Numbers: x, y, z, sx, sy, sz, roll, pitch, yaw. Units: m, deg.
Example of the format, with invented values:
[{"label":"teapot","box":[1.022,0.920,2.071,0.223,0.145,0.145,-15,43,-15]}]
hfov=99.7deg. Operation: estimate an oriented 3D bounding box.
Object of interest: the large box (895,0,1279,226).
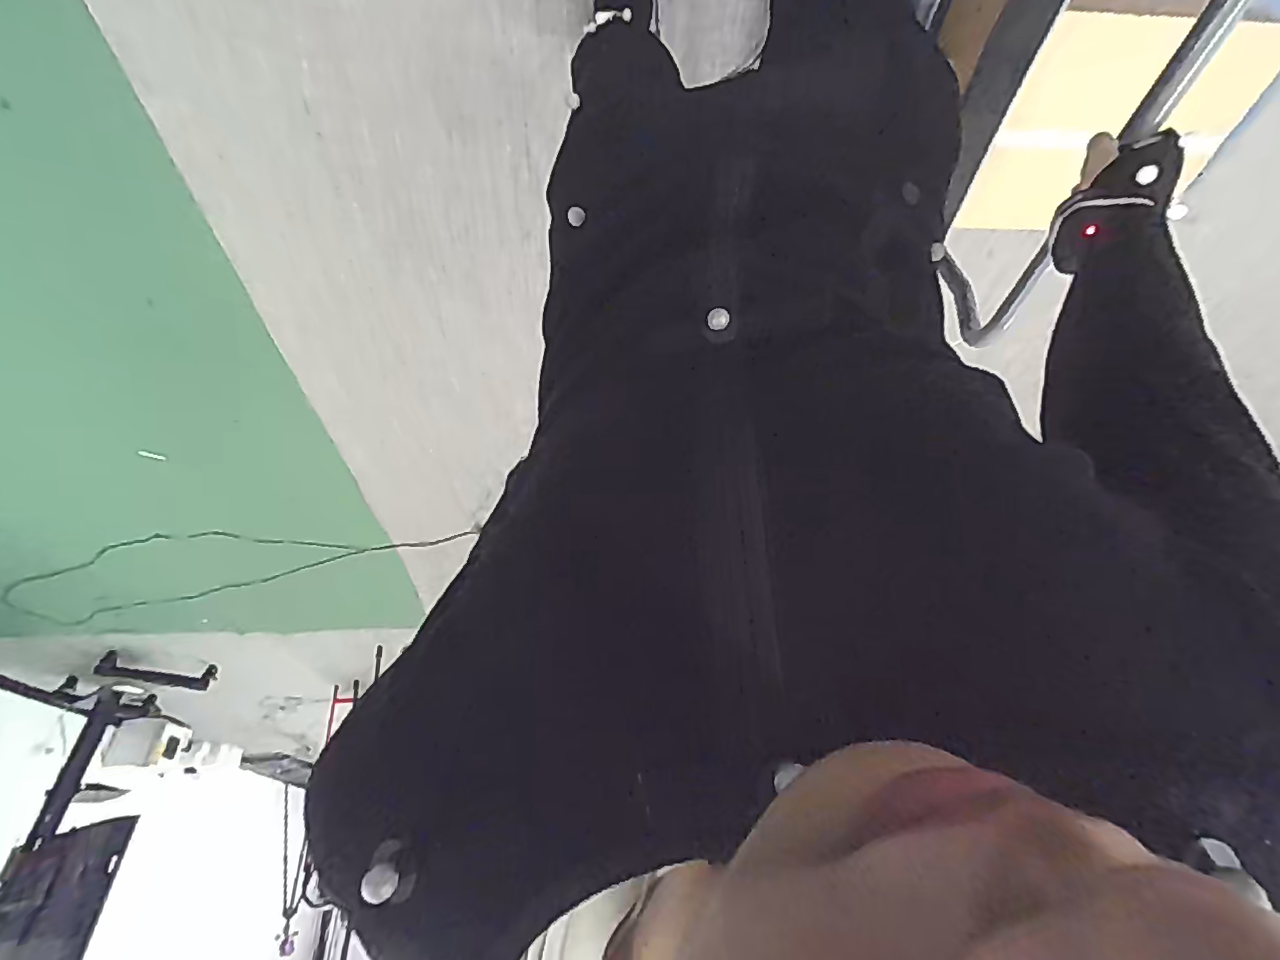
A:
[{"label":"large box","box":[0.765,-0.692,0.993,0.408,0.320,0.320,-1,143,-5]}]
